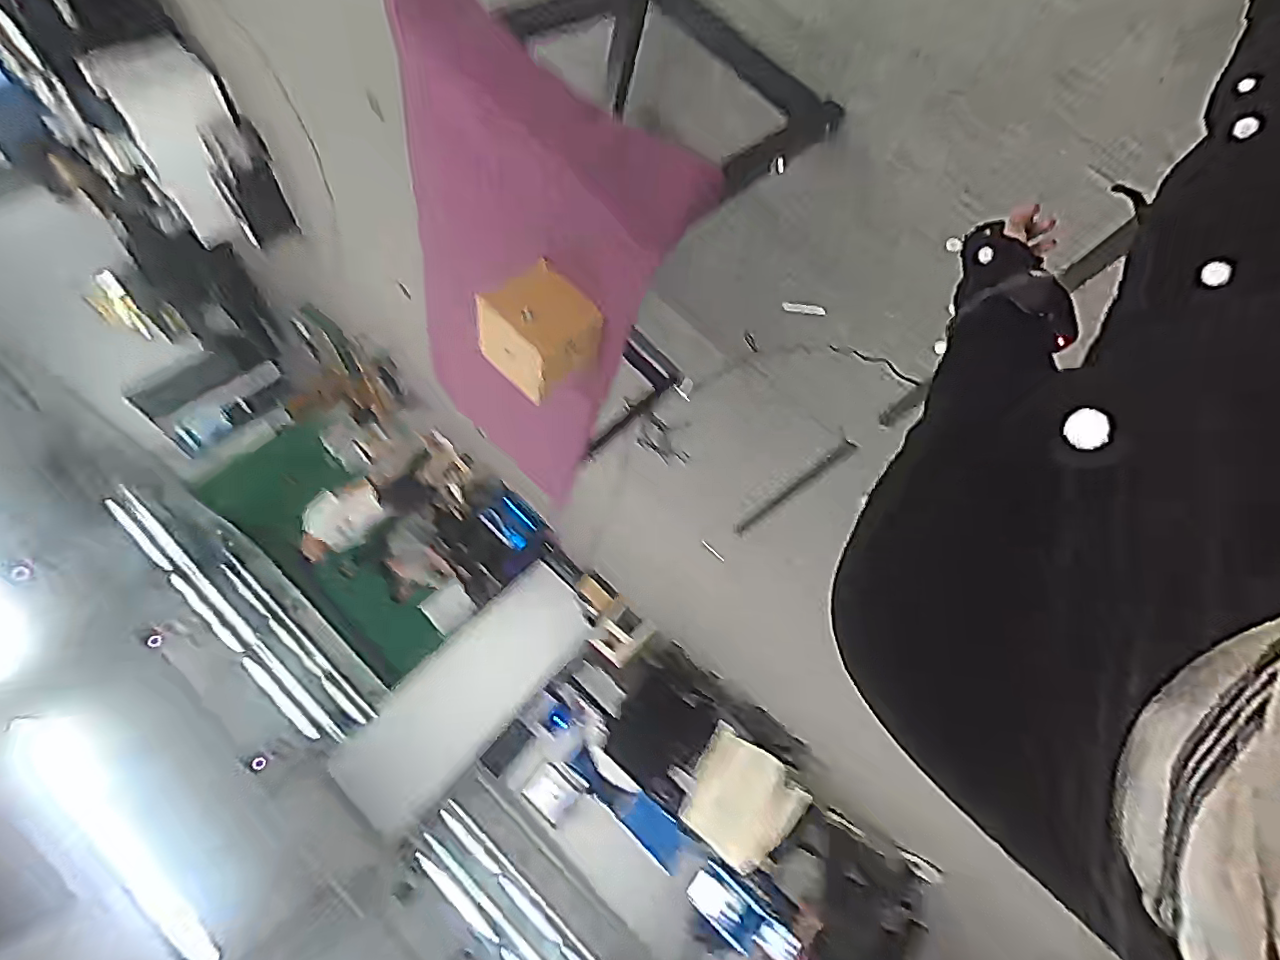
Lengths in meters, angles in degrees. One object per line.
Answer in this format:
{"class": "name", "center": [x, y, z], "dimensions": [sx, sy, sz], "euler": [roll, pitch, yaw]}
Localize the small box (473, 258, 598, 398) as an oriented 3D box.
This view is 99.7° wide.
{"class": "small box", "center": [-0.207, -0.306, 1.079], "dimensions": [0.179, 0.176, 0.168], "euler": [44, 153, 7]}
